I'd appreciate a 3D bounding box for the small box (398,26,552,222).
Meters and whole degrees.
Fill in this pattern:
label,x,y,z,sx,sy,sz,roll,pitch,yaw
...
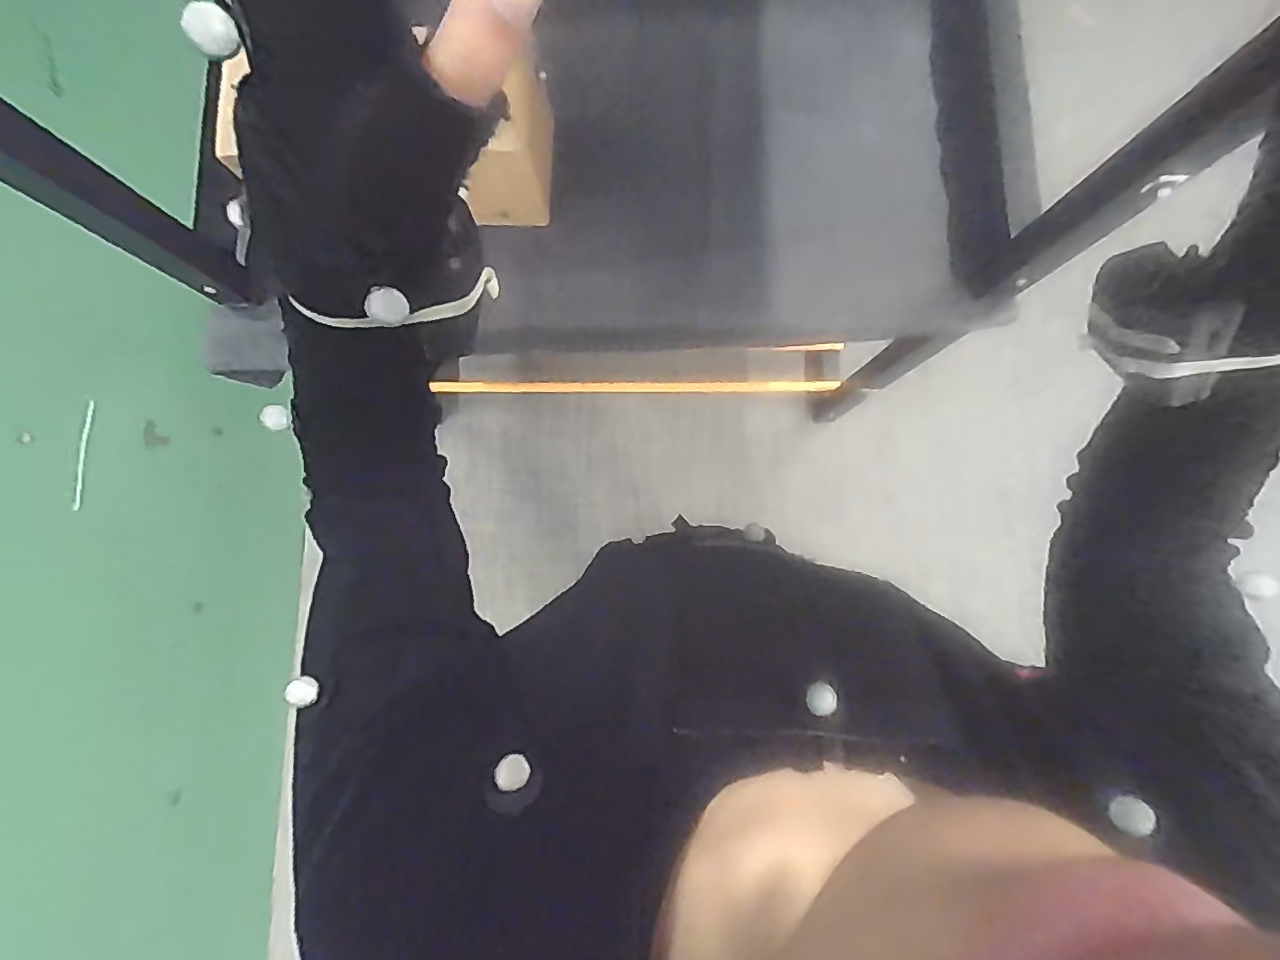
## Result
label,x,y,z,sx,sy,sz,roll,pitch,yaw
small box,-0.223,-0.494,0.772,0.168,0.176,0.179,1,82,0
